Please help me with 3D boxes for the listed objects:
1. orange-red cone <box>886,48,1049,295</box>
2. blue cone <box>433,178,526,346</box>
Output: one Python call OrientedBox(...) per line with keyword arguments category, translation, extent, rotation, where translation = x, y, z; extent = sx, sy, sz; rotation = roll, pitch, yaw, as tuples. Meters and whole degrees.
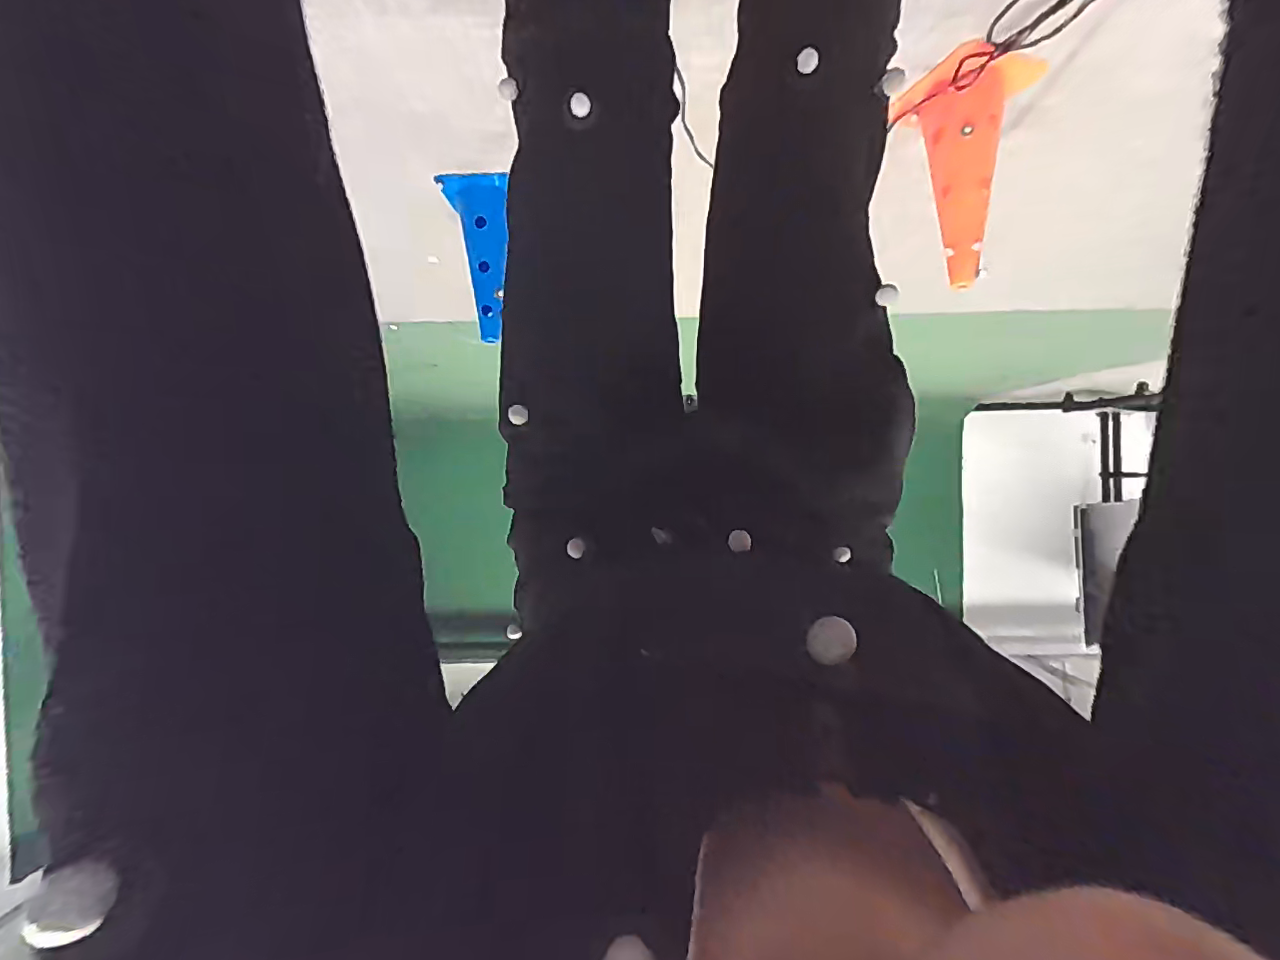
OrientedBox(category="orange-red cone", translation=(0.586, -0.519, 0.974), extent=(0.199, 0.360, 0.198), rotation=(-2, -179, -19))
OrientedBox(category="blue cone", translation=(-0.382, -0.519, 1.320), extent=(0.192, 0.380, 0.193), rotation=(0, 179, 0))
